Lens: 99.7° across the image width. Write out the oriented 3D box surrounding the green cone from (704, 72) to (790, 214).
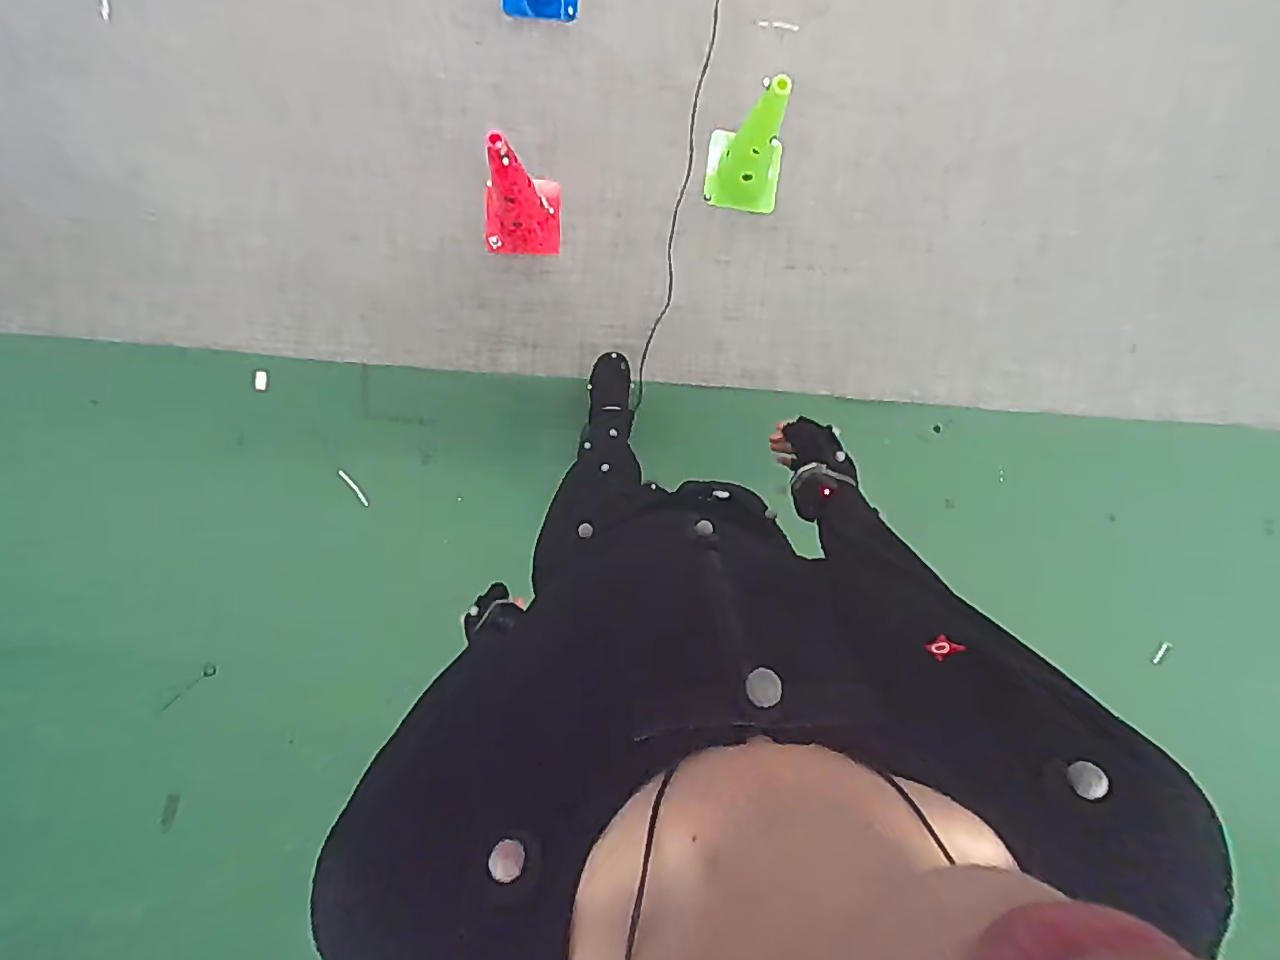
[{"bbox_3d":[0.289,-0.833,1.308,0.200,0.368,0.202,6,91,-3],"label":"green cone"}]
